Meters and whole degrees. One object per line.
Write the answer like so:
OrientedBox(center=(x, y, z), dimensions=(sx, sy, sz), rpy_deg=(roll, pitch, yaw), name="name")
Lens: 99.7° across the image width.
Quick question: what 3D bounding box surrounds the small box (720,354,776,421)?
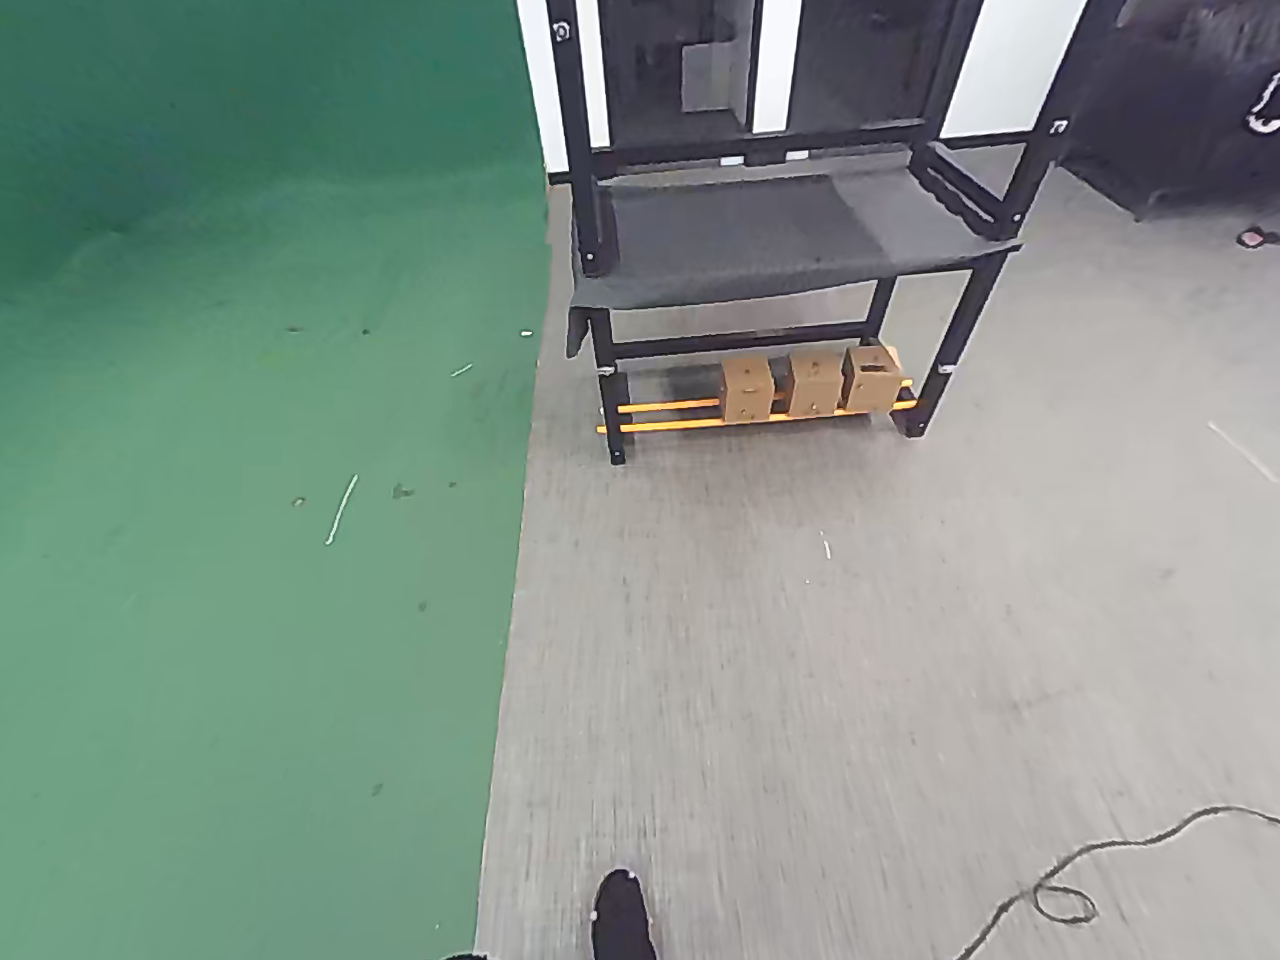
OrientedBox(center=(0.385, -0.333, 1.959), dimensions=(0.168, 0.176, 0.179), rpy_deg=(-3, 51, 1), name="small box")
